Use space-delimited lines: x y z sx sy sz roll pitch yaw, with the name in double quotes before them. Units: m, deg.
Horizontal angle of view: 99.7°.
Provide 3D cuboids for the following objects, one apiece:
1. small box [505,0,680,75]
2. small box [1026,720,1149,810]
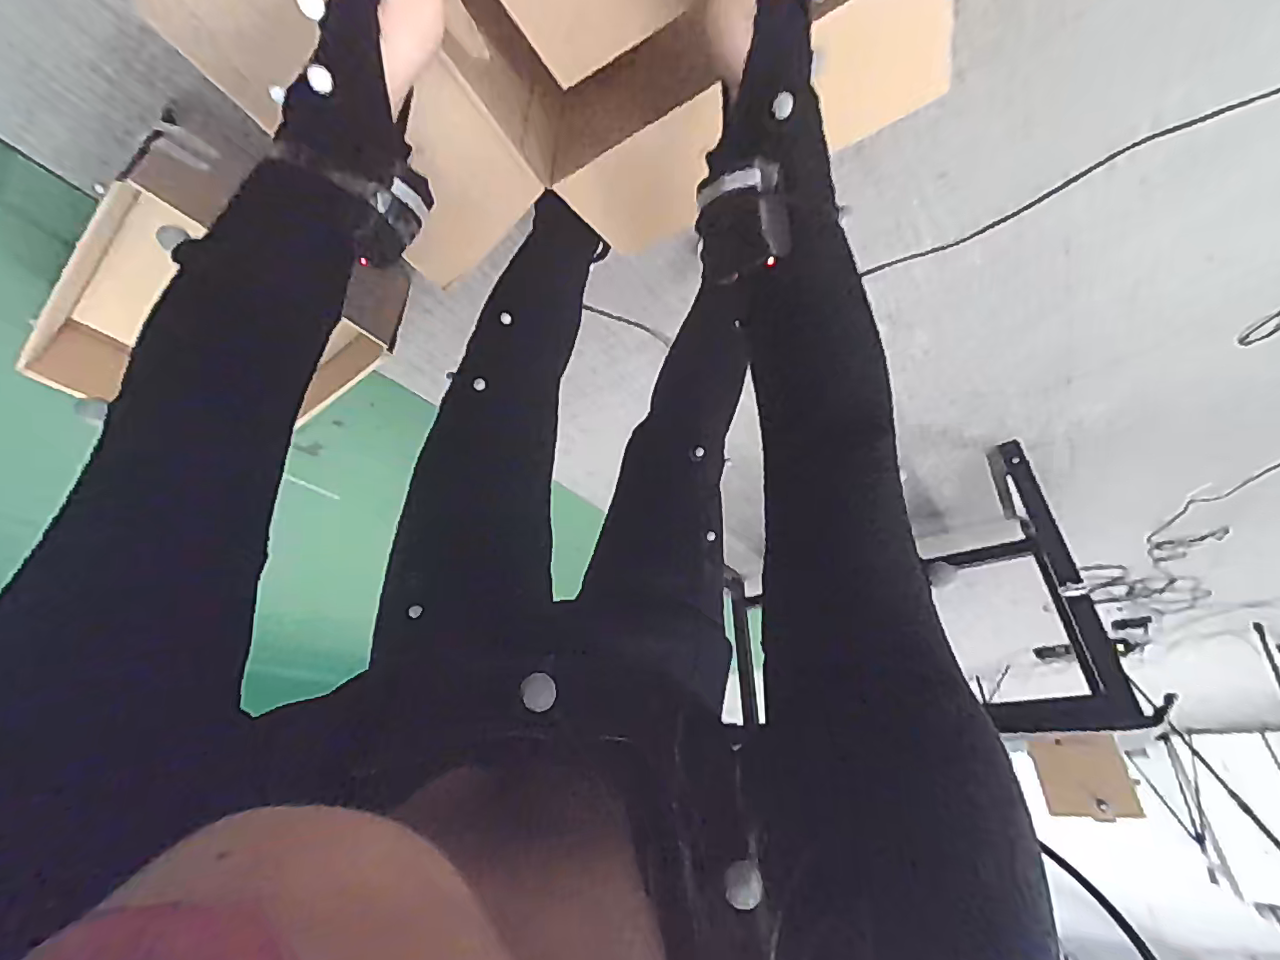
"small box" -0.038 -0.466 0.394 0.179 0.176 0.168 -13 158 28
"small box" 1.008 0.643 1.221 0.168 0.176 0.179 -24 141 33
